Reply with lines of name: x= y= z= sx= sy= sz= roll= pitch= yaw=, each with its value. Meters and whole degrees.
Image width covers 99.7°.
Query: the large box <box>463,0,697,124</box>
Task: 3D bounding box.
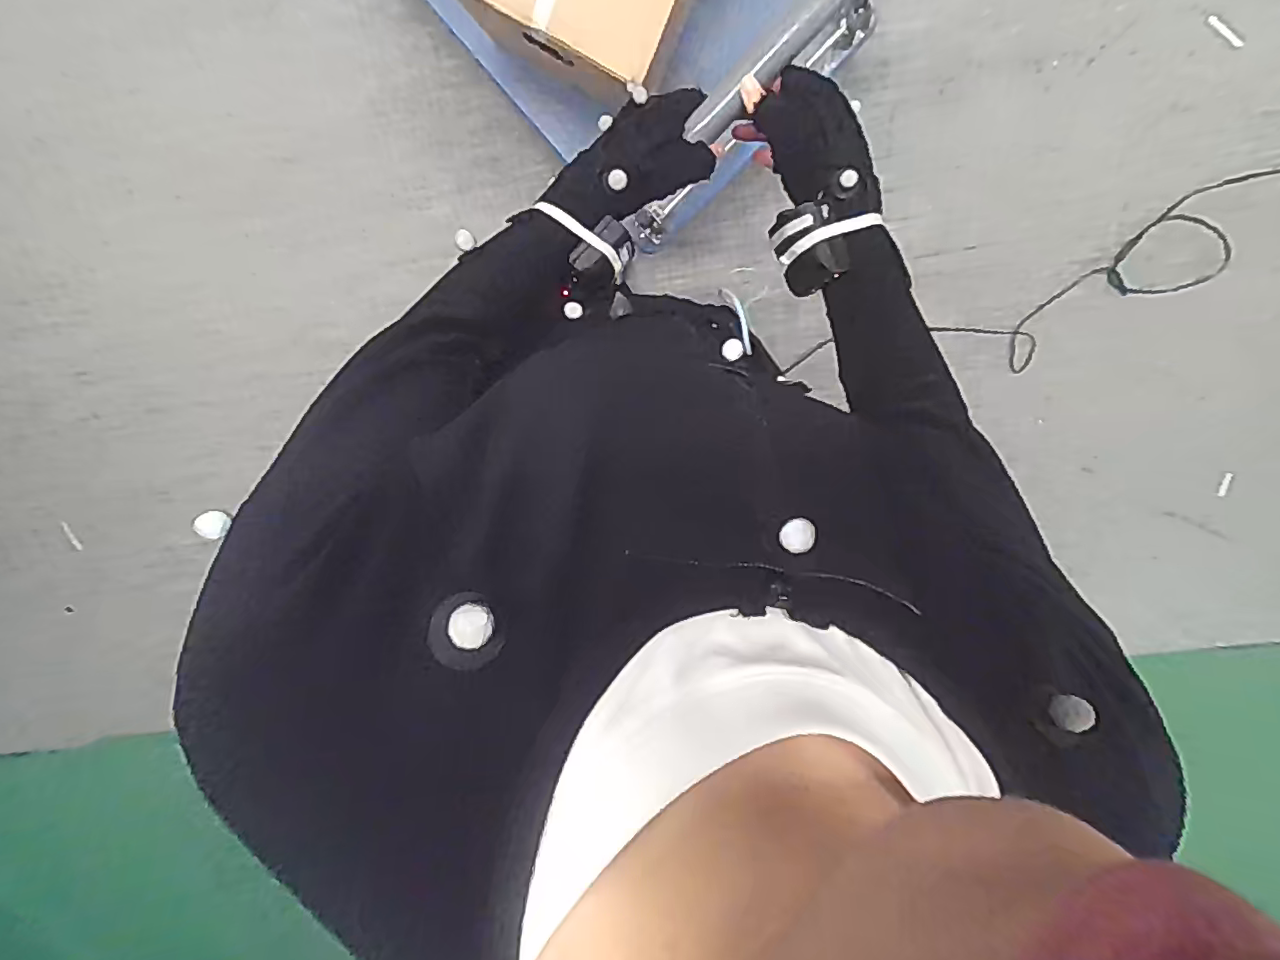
large box: x=-0.042 y=-0.840 z=0.808 sx=0.320 sy=0.320 sz=0.408 roll=25 pitch=114 yaw=-9
